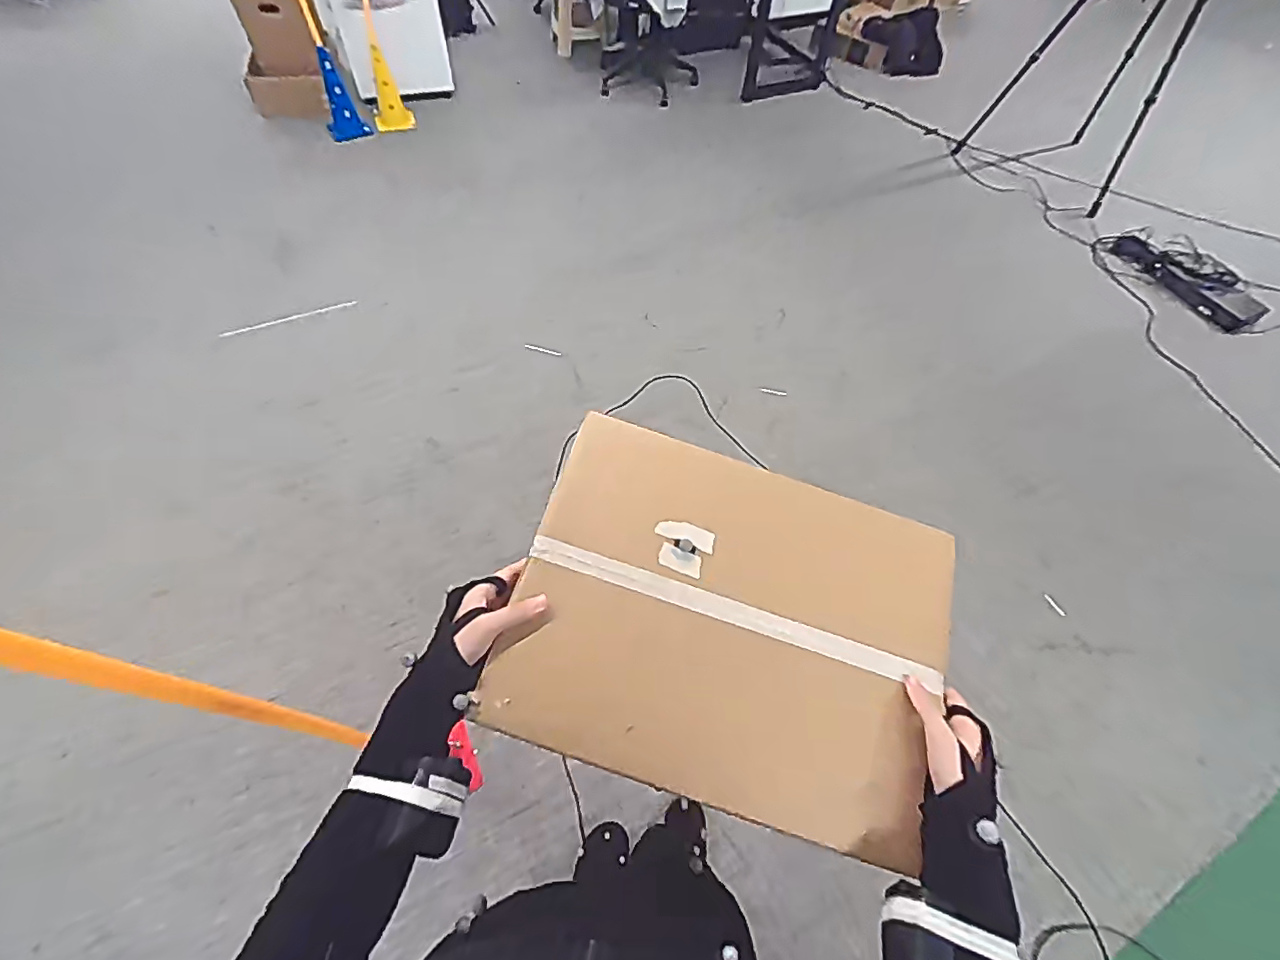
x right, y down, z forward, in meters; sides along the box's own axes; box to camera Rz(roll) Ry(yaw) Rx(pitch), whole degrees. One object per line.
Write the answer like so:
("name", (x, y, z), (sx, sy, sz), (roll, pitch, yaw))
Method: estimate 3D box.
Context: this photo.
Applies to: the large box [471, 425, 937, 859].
("large box", (0.071, 0.186, 0.662), (0.408, 0.320, 0.320), (19, 68, 2))
